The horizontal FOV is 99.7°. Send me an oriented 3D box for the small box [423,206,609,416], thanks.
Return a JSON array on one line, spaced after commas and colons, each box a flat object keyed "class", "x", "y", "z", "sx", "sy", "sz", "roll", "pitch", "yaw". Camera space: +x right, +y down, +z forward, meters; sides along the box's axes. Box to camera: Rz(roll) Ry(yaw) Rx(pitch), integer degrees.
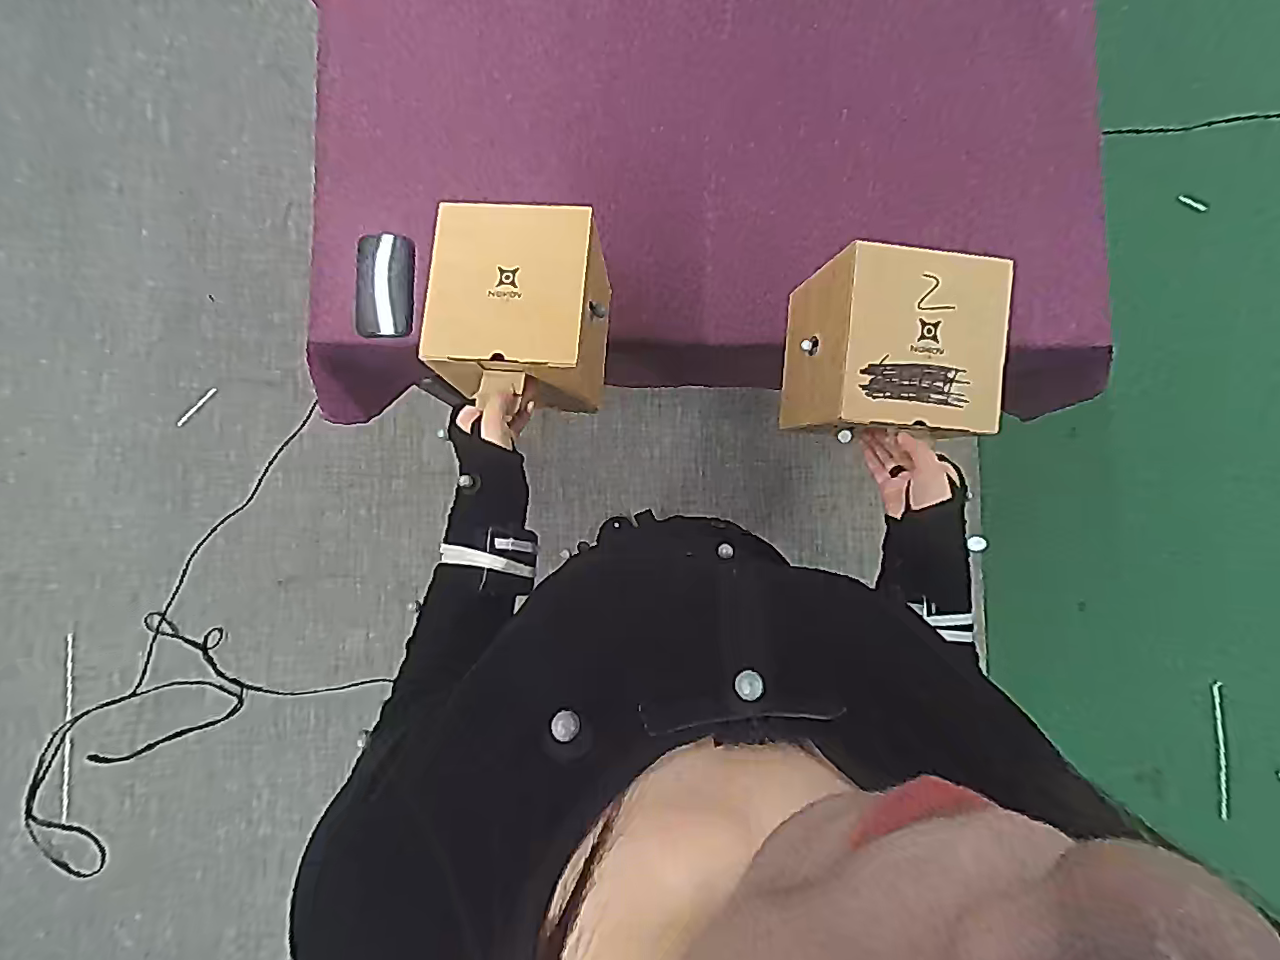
[{"class": "small box", "x": -0.129, "y": -0.186, "z": 0.634, "sx": 0.168, "sy": 0.176, "sz": 0.179, "roll": 4, "pitch": 82, "yaw": 3}]
